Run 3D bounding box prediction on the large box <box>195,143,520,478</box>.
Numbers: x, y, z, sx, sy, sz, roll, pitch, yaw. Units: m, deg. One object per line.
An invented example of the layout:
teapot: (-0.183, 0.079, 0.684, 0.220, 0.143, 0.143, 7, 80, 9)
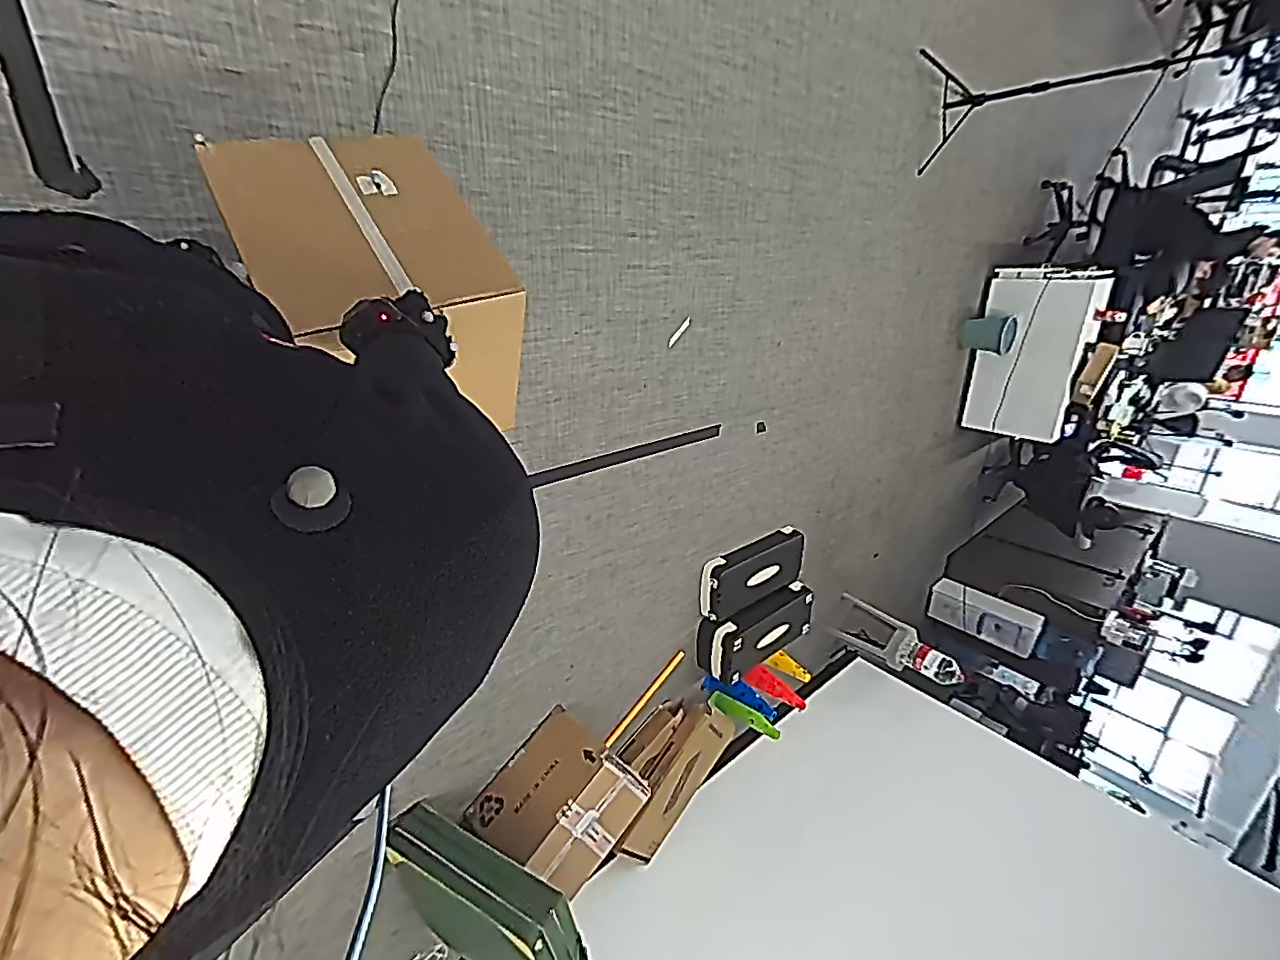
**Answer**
large box: (-0.433, -0.281, 0.889, 0.320, 0.408, 0.320, -24, 156, -30)
